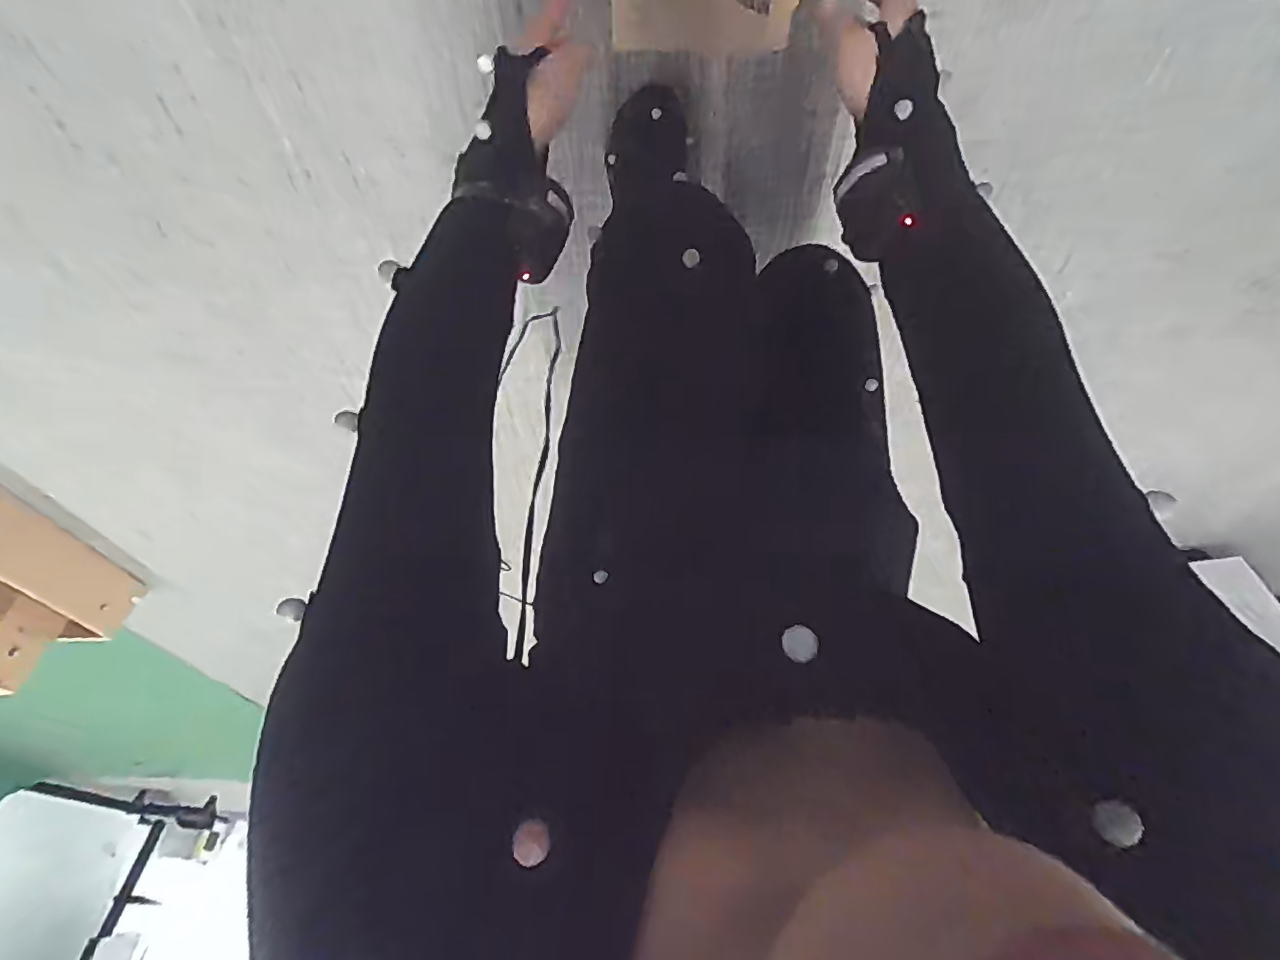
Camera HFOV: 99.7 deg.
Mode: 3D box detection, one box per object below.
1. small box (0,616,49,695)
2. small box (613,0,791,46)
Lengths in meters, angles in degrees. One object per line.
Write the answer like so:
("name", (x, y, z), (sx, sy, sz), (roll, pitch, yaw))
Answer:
("small box", (-1.823, 0.488, 1.502), (0.179, 0.176, 0.168), (-3, 140, 3))
("small box", (0.062, -0.556, 0.539), (0.179, 0.176, 0.168), (1, 140, 2))
